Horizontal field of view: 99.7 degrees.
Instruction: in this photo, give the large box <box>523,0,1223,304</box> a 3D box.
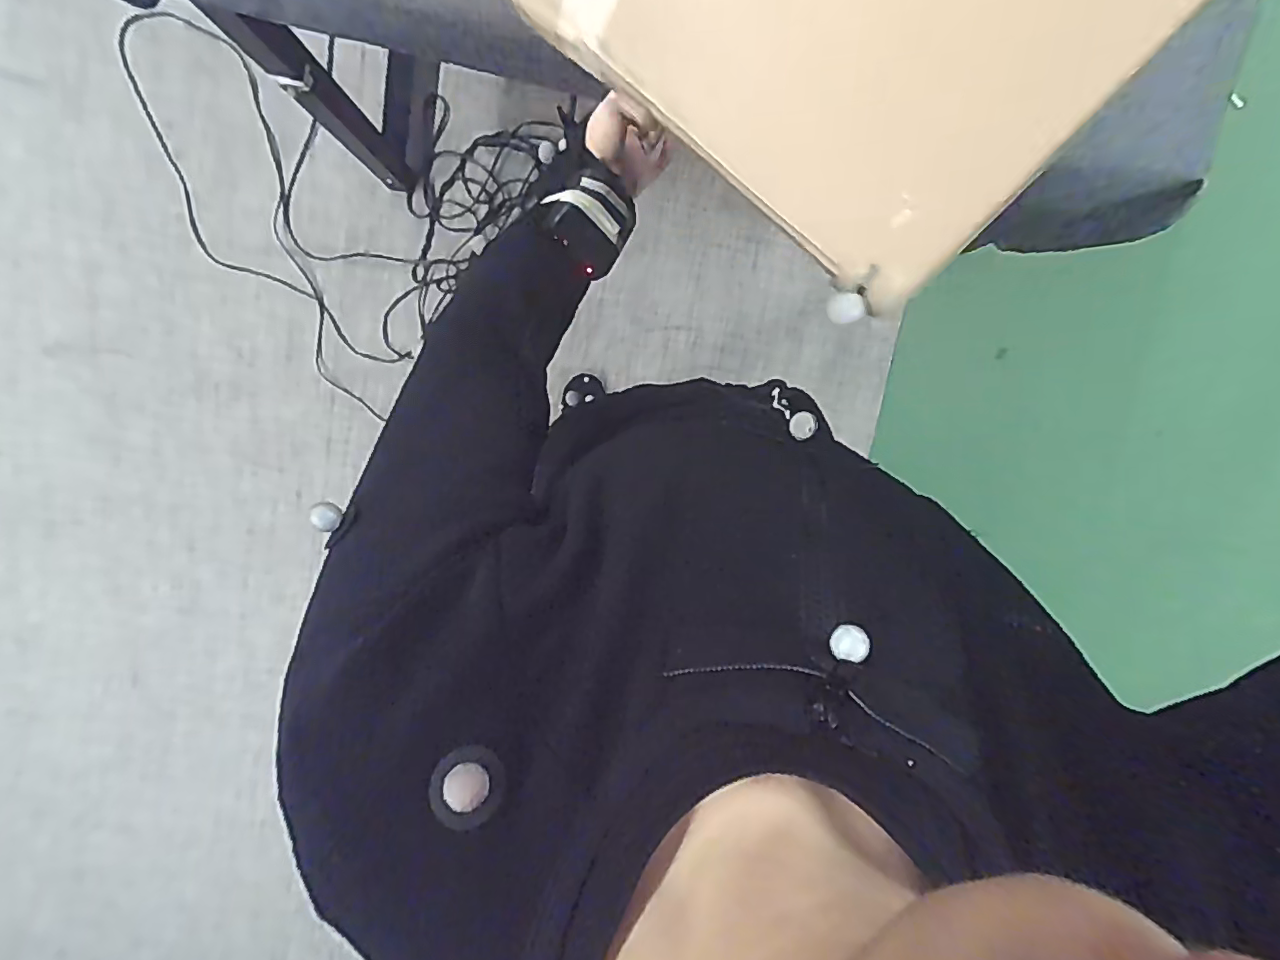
[{"bbox_3d":[0.165,-0.351,0.245,0.320,0.320,0.408,44,123,8],"label":"large box"}]
